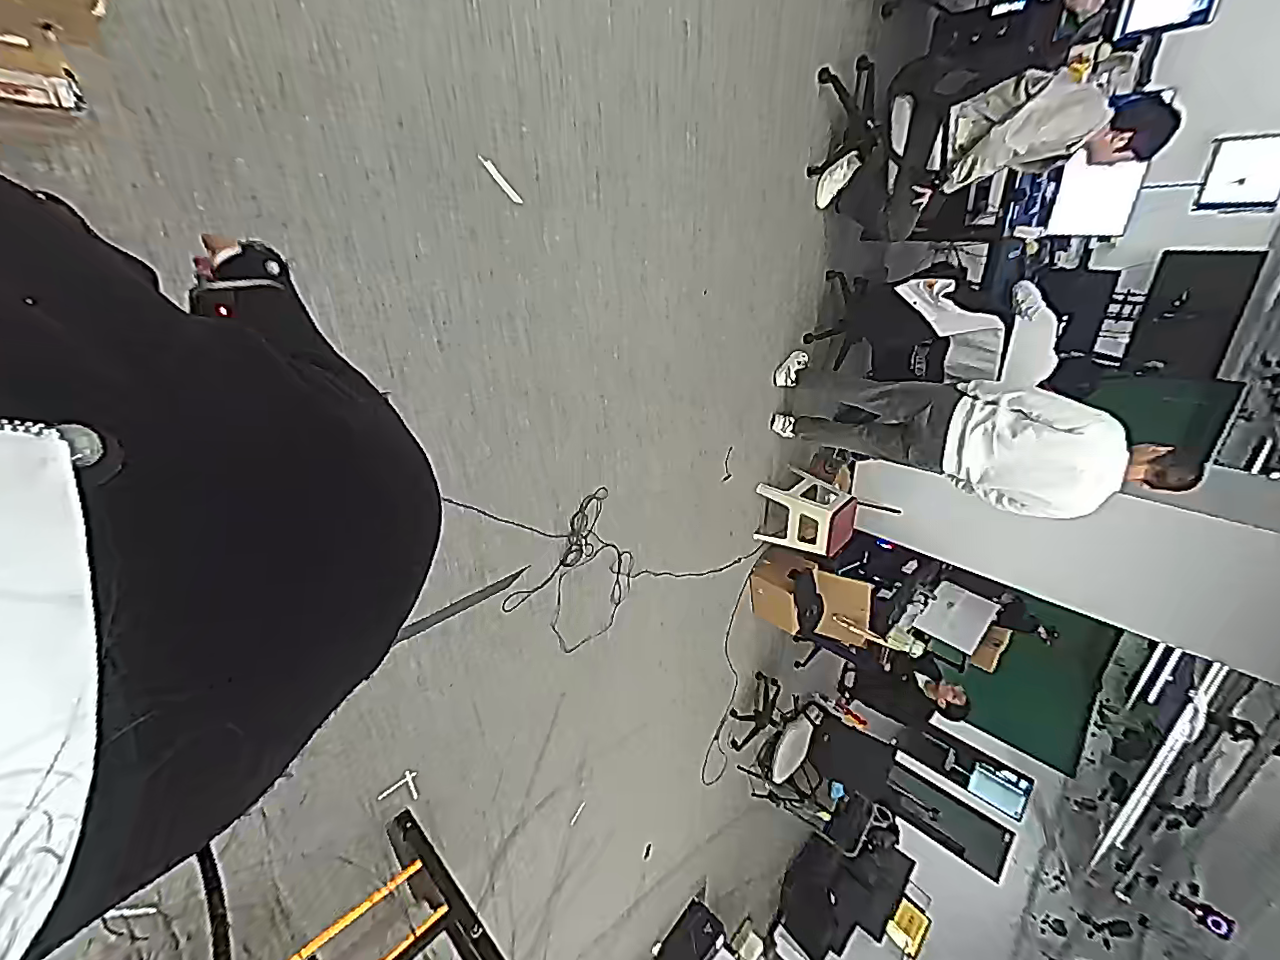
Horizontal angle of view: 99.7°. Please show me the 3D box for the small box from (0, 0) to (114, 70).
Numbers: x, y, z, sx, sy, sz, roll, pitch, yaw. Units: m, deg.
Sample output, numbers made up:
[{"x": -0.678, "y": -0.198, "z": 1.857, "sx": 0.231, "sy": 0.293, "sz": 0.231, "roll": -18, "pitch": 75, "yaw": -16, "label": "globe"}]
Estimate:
[{"x": -0.669, "y": -0.518, "z": 0.524, "sx": 0.179, "sy": 0.176, "sz": 0.168, "roll": -26, "pitch": 127, "yaw": -40, "label": "small box"}]
